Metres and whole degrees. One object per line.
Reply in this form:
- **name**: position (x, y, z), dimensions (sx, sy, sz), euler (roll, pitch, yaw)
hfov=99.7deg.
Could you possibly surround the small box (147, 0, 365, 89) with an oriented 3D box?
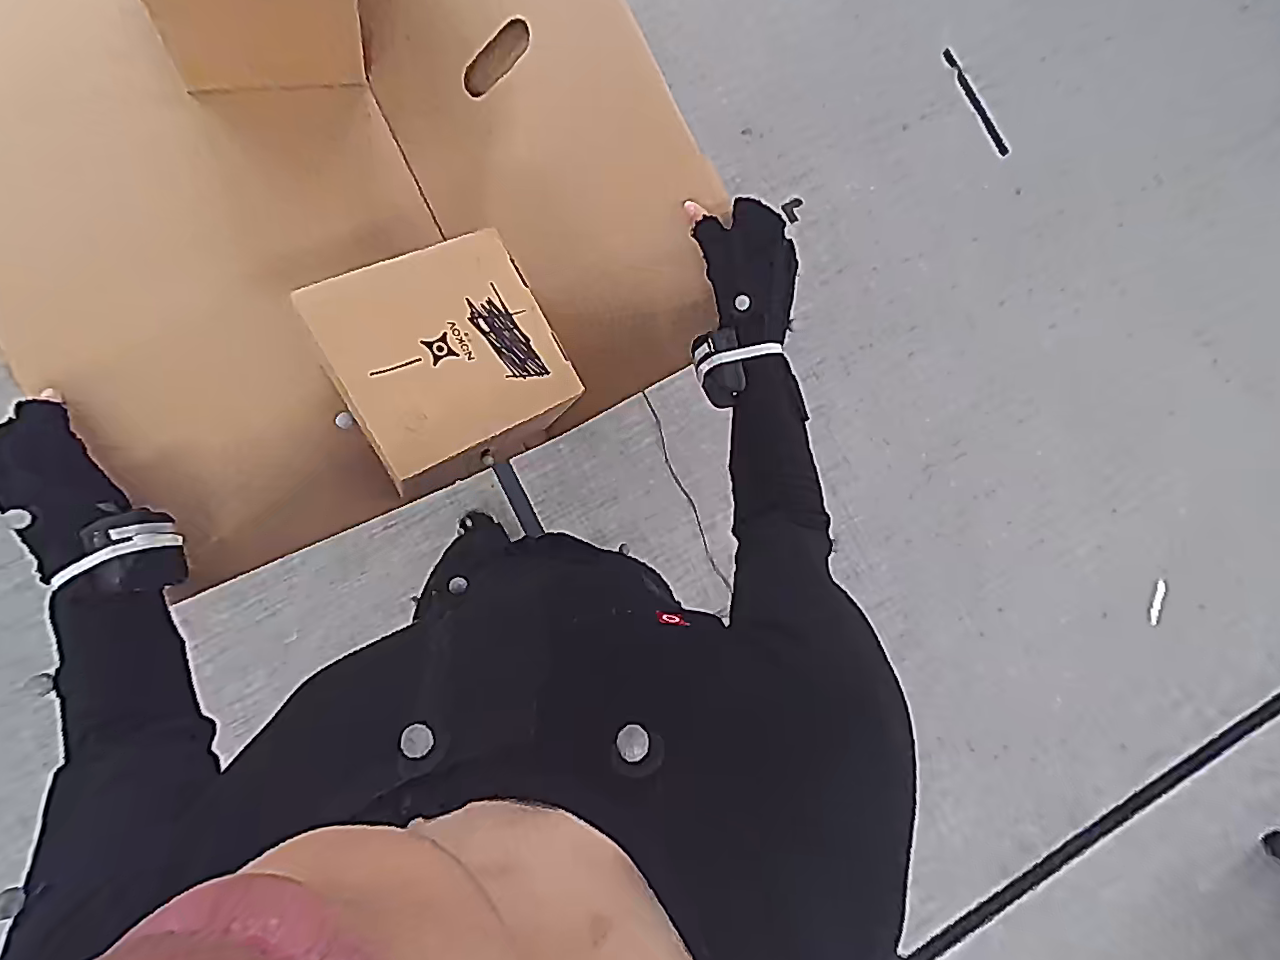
- **small box**: position (-0.381, -0.506, 0.507), dimensions (0.179, 0.176, 0.168), euler (-22, 91, -24)
